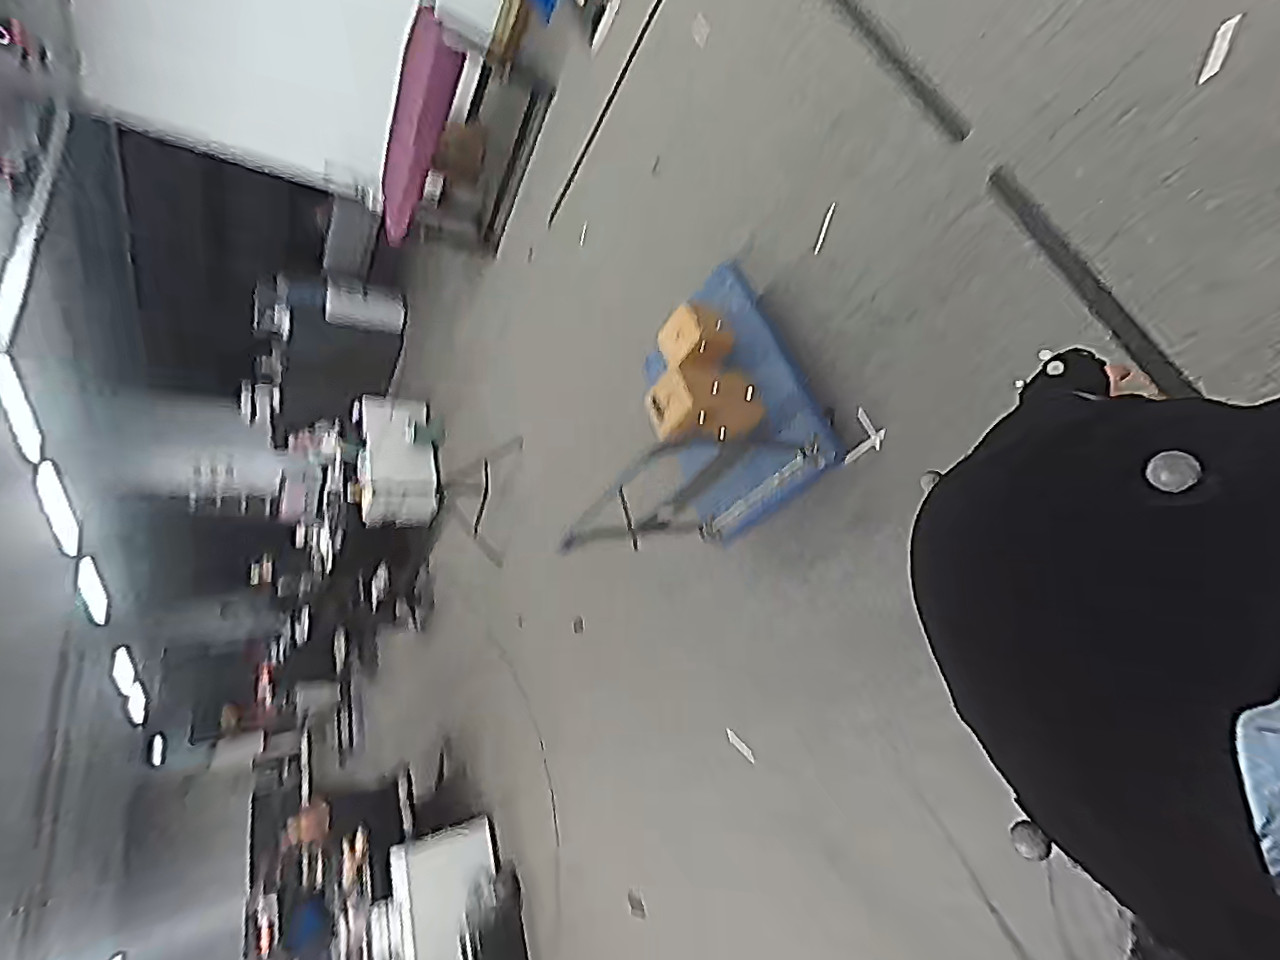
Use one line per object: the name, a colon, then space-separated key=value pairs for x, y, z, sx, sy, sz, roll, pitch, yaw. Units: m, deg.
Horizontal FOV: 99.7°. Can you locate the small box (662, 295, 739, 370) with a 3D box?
small box: x=0.209 y=-0.503 z=1.879 sx=0.179 sy=0.176 sz=0.168 roll=-47 pitch=53 yaw=40

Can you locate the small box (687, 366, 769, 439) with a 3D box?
small box: x=0.287 y=-0.245 z=1.760 sx=0.179 sy=0.176 sz=0.168 roll=-40 pitch=58 yaw=44
